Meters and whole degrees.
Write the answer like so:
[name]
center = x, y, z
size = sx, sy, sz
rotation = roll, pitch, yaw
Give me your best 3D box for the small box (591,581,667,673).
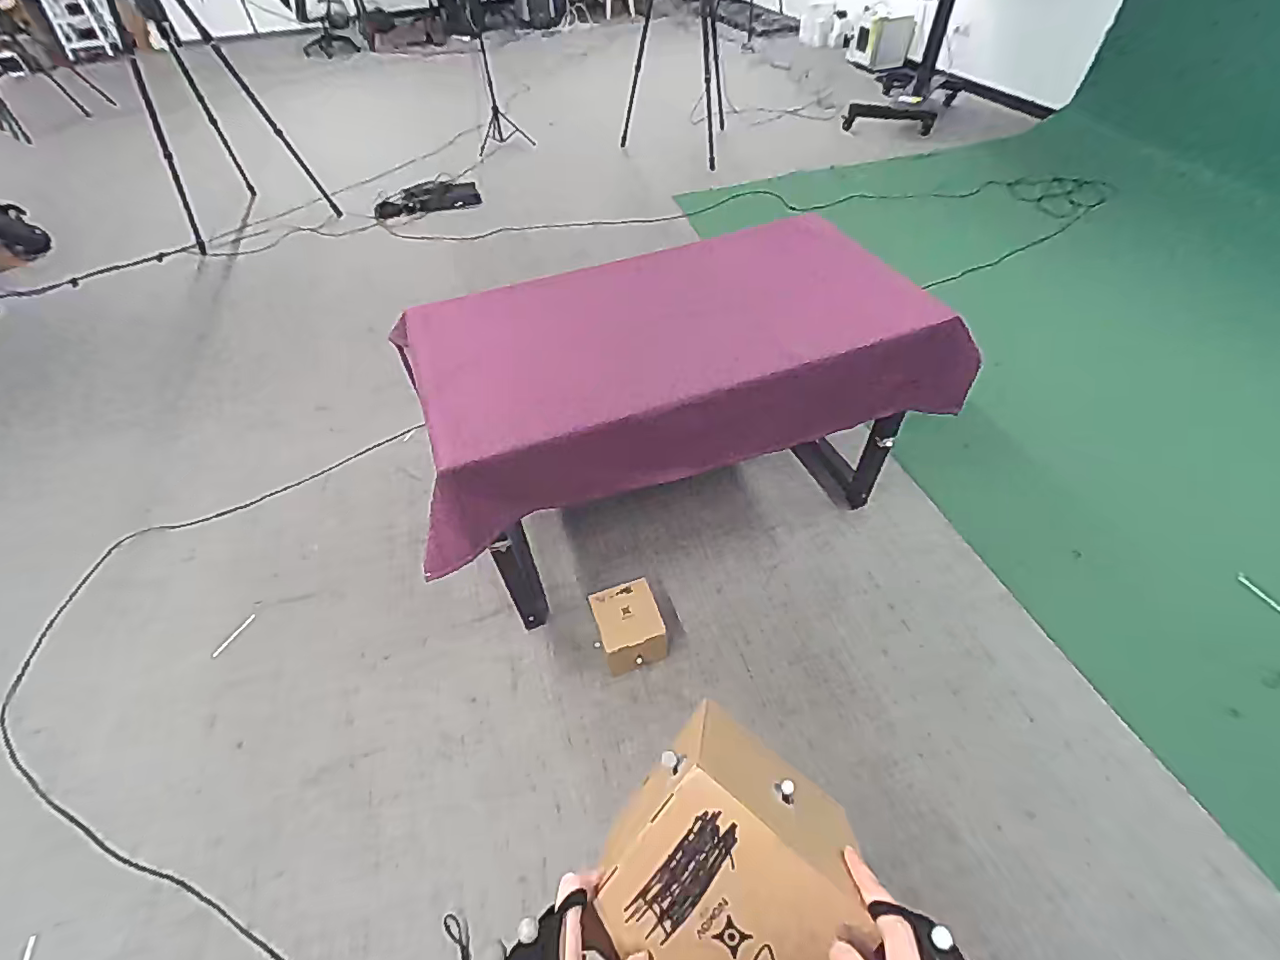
[small box]
center = -0.028, 0.412, 1.491
size = 0.168, 0.176, 0.179
rotation = -16, 51, -11
